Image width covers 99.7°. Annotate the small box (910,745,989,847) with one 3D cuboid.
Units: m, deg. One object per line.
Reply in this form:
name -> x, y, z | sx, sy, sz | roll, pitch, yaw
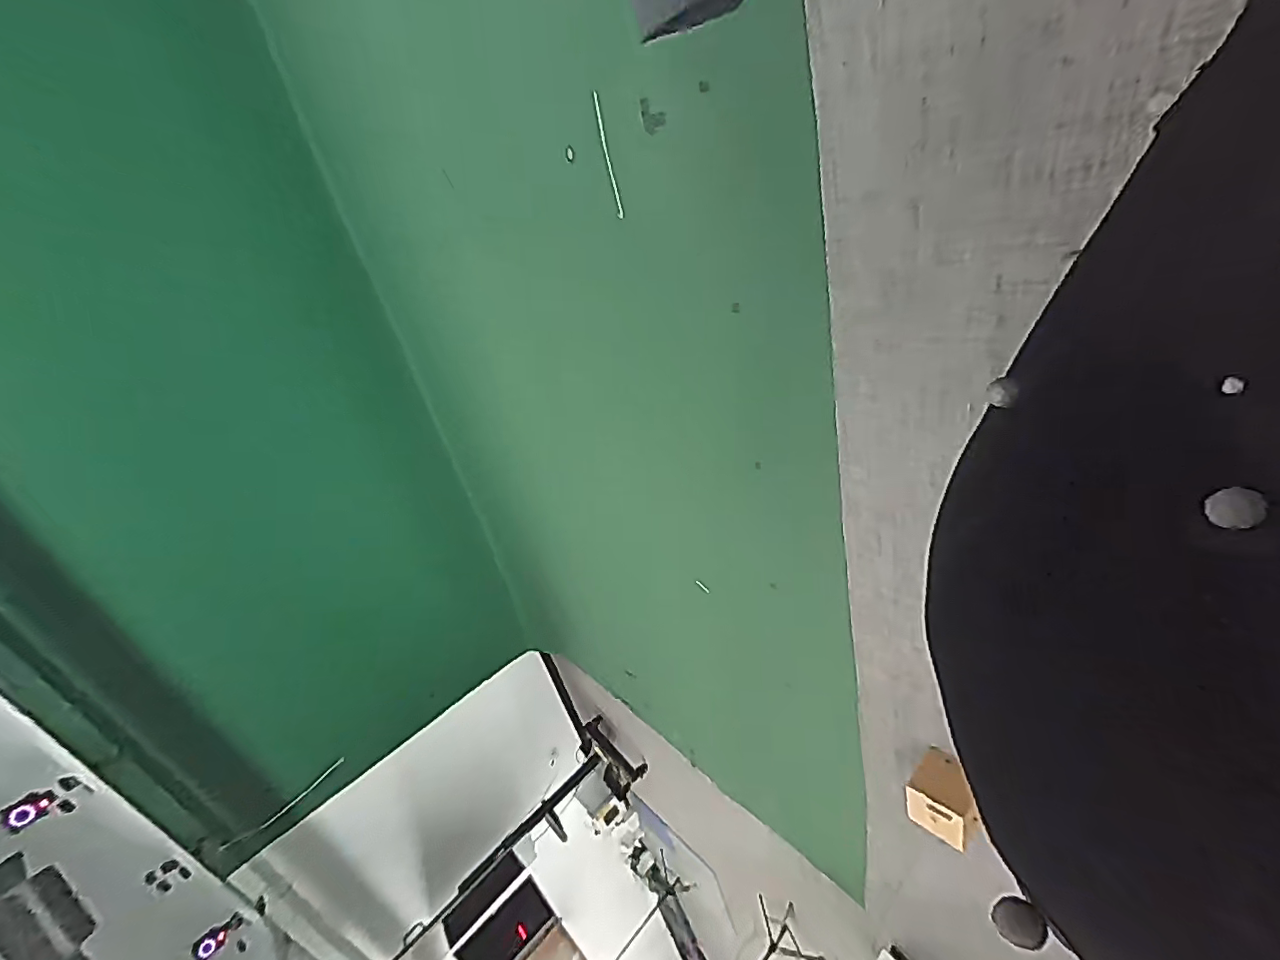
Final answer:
small box -> 0.954, 0.965, 1.668 | 0.168, 0.176, 0.179 | 18, 132, 49
